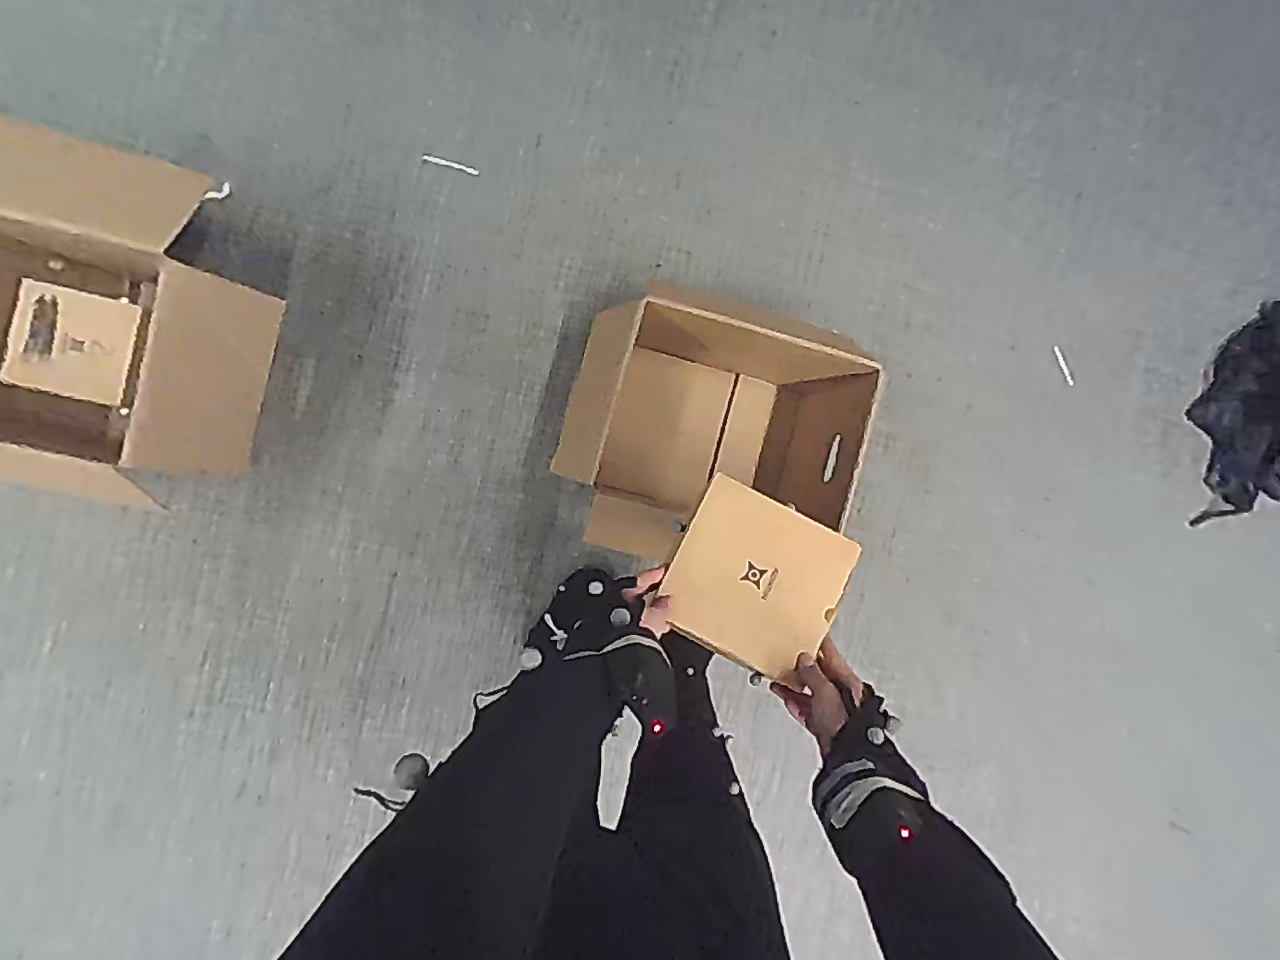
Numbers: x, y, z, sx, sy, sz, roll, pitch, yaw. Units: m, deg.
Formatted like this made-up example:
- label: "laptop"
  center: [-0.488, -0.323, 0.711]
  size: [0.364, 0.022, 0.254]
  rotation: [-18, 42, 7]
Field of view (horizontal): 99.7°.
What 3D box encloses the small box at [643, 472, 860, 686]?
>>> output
- label: "small box"
  center: [0.115, 0.117, 0.631]
  size: [0.179, 0.176, 0.168]
  rotation: [27, 76, 2]
